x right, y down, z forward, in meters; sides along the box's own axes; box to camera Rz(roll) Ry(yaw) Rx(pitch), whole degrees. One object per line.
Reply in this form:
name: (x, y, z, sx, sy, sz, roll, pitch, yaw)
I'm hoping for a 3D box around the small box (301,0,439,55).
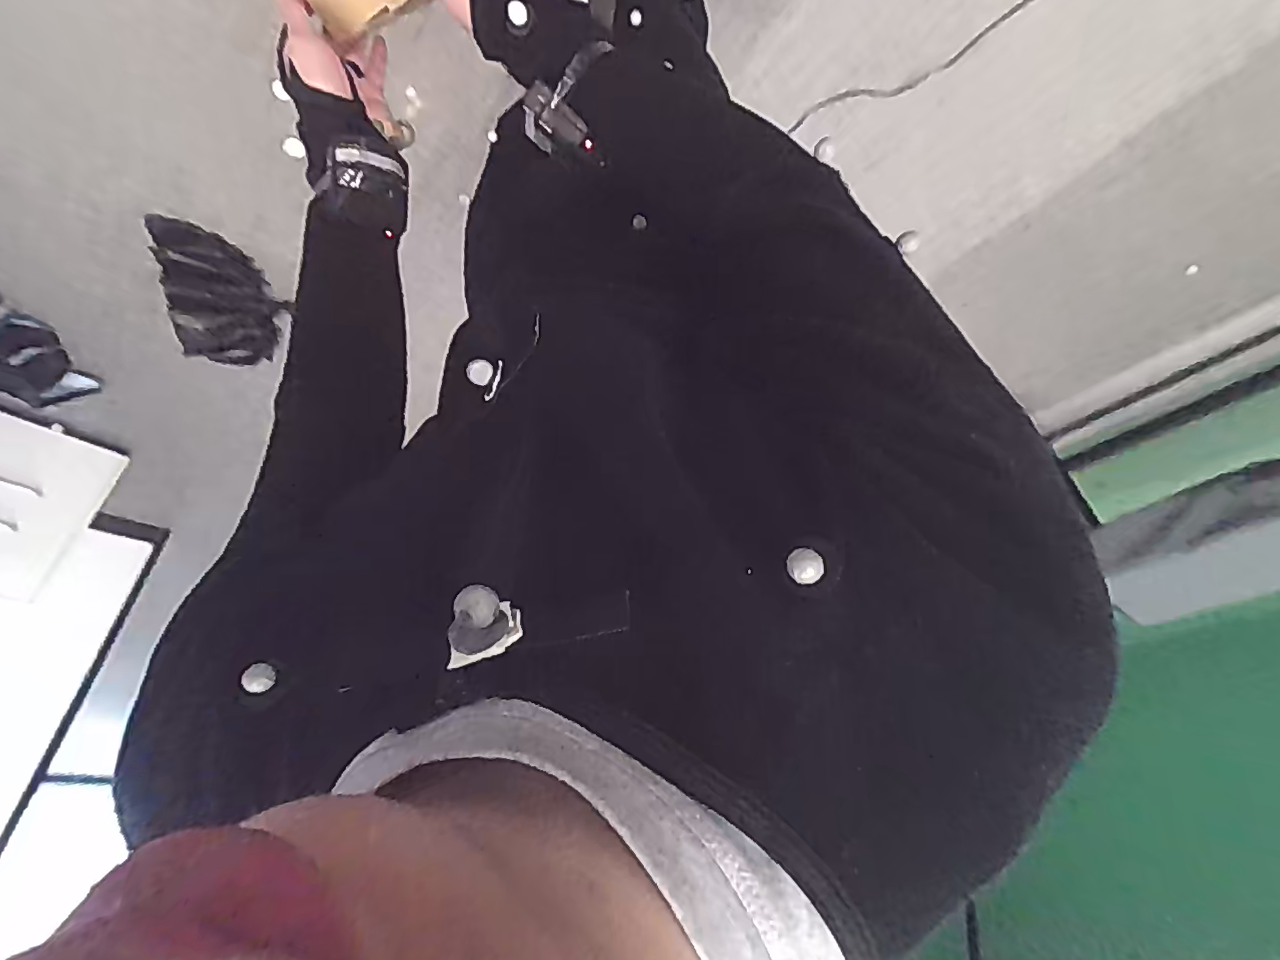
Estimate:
small box: (-0.199, -0.477, 0.404, 0.168, 0.176, 0.179, -12, 135, 29)
